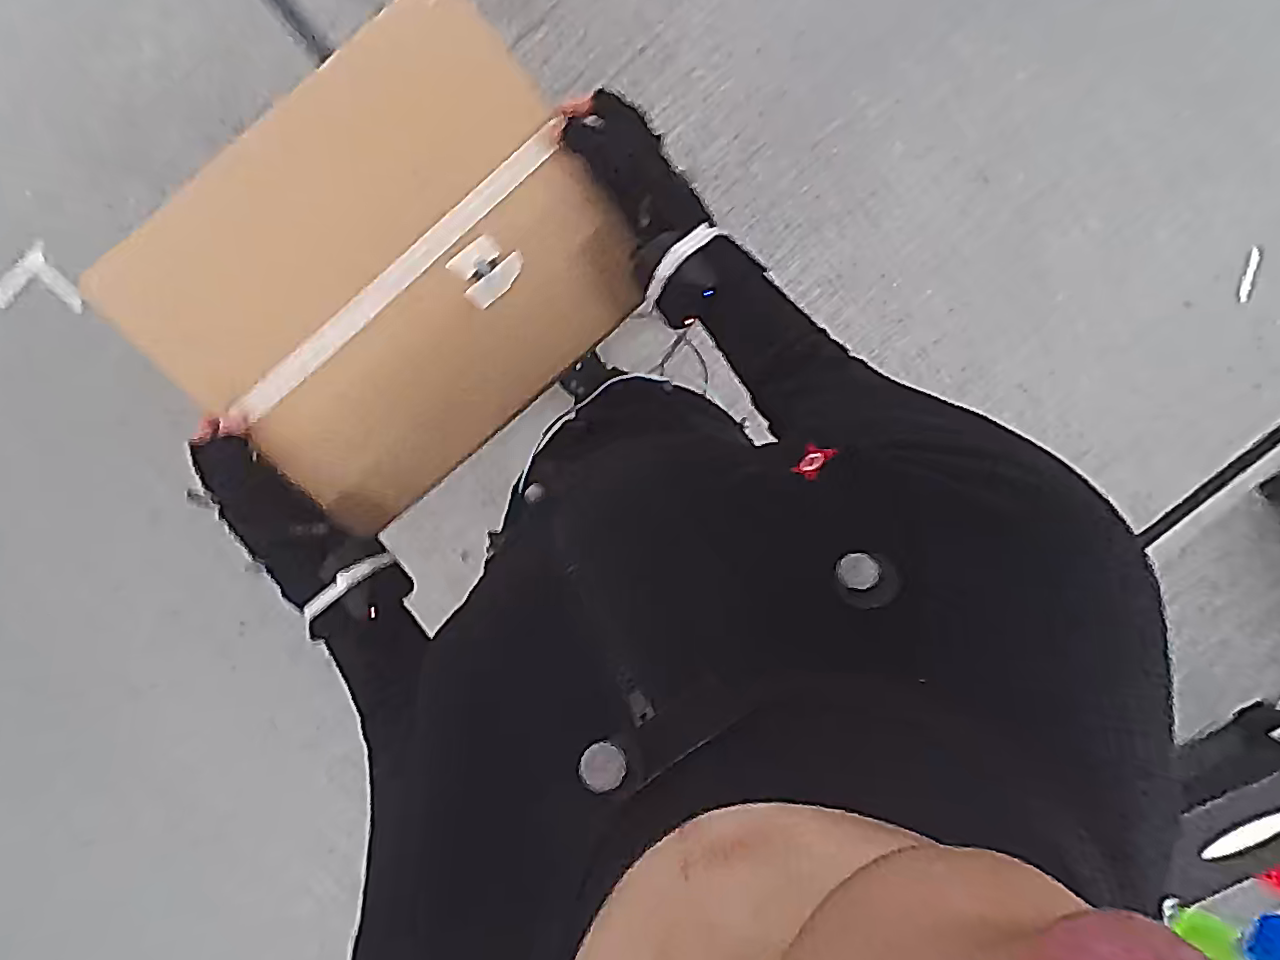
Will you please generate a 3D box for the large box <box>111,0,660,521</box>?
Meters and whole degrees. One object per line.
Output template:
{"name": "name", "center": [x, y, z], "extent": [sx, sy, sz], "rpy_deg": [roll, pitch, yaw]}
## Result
{"name": "large box", "center": [-0.243, -0.222, 0.646], "extent": [0.408, 0.320, 0.320], "rpy_deg": [-41, 104, 1]}
